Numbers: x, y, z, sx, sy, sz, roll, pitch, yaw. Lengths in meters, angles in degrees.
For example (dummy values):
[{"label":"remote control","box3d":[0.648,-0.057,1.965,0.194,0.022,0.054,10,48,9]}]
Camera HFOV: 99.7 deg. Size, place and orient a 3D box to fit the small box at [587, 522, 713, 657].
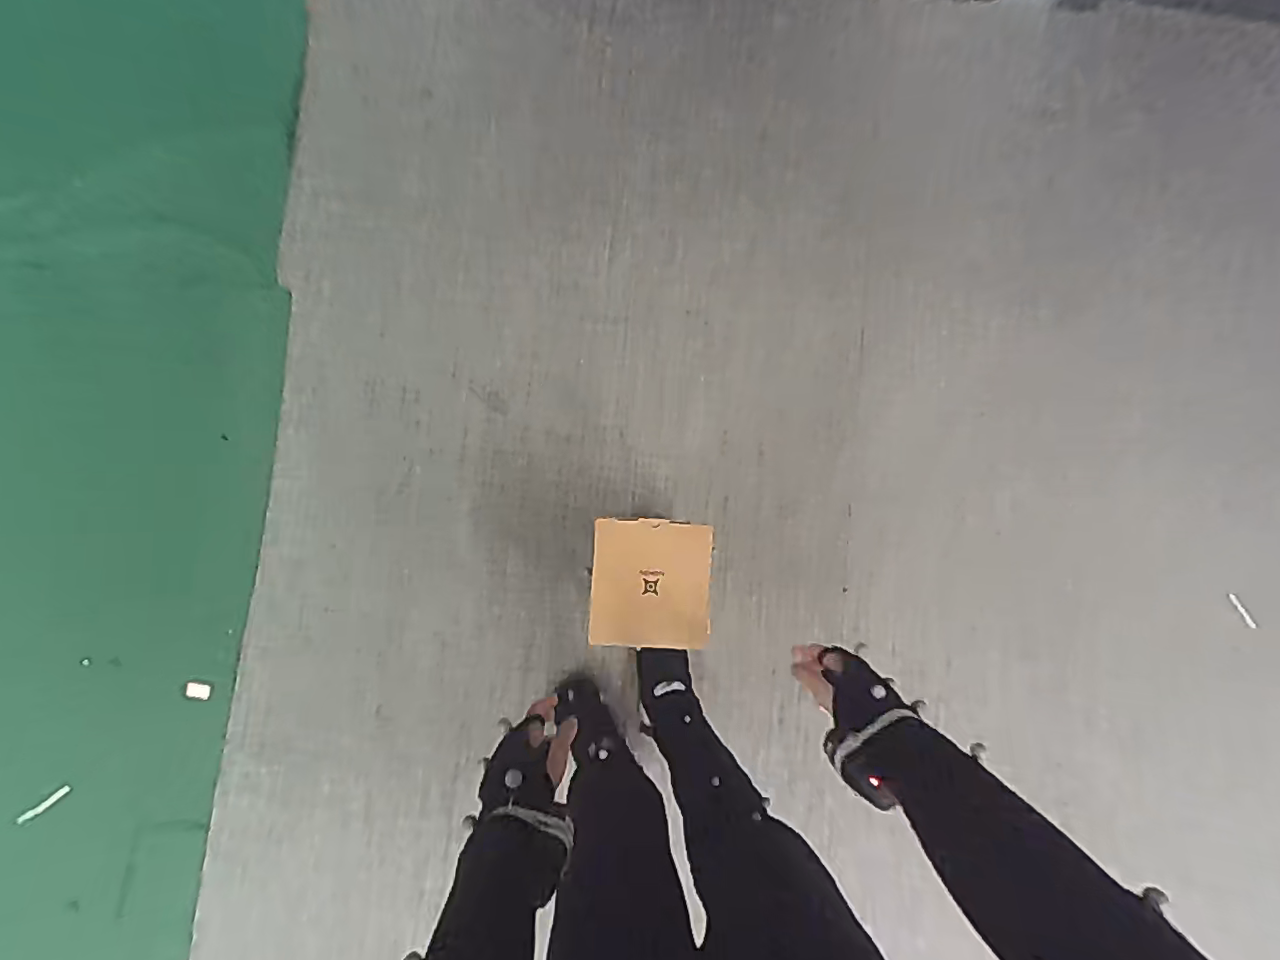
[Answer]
[{"label":"small box","box3d":[0.013,0.157,0.823,0.168,0.176,0.179,4,85,-1]}]
